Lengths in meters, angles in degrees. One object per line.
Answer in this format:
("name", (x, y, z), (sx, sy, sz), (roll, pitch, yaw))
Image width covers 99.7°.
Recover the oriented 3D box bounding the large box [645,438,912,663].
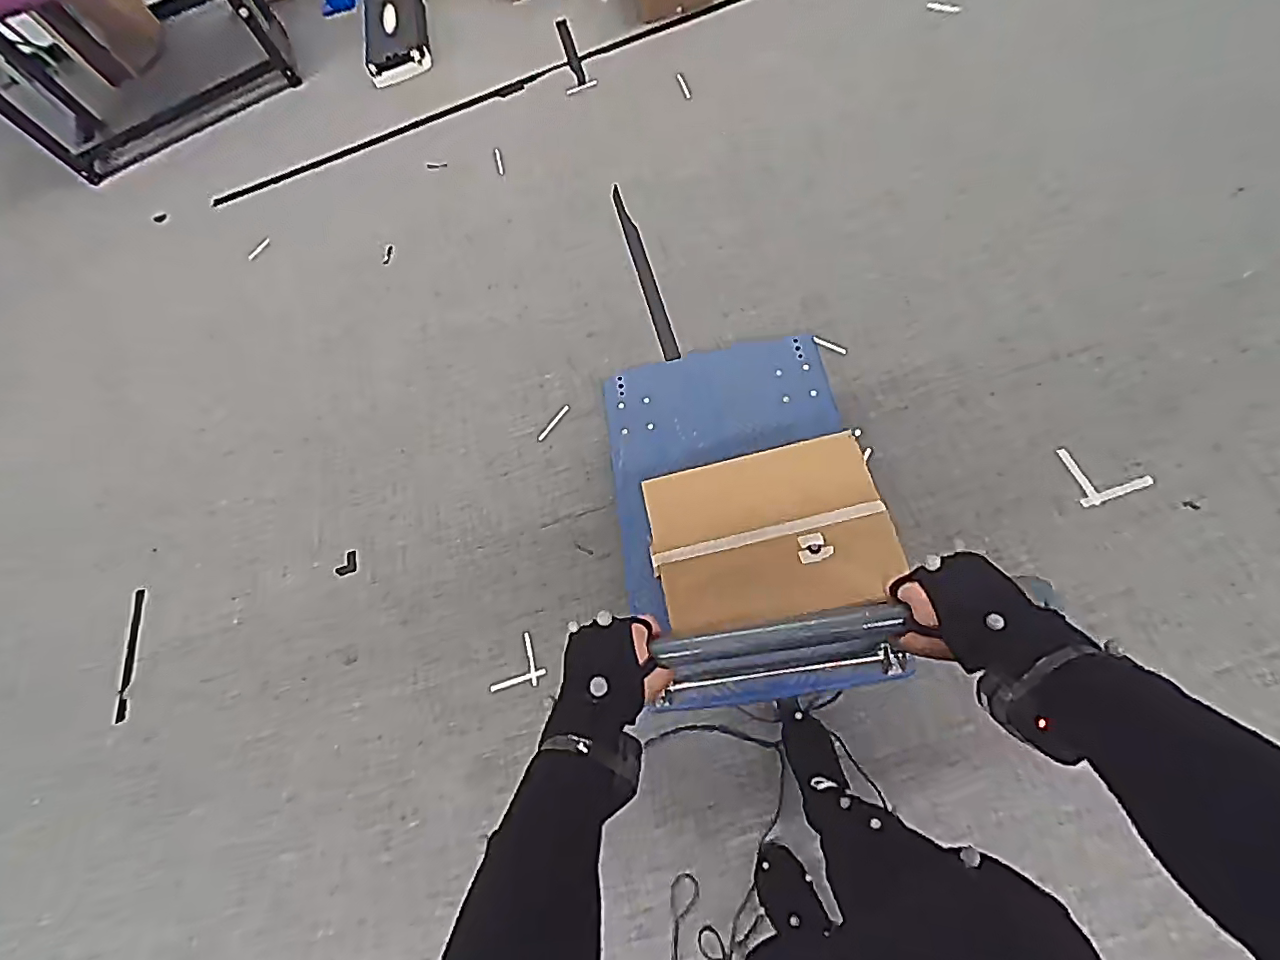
("large box", (0.253, 0.162, 1.098), (0.408, 0.320, 0.320), (-14, 66, 4))
